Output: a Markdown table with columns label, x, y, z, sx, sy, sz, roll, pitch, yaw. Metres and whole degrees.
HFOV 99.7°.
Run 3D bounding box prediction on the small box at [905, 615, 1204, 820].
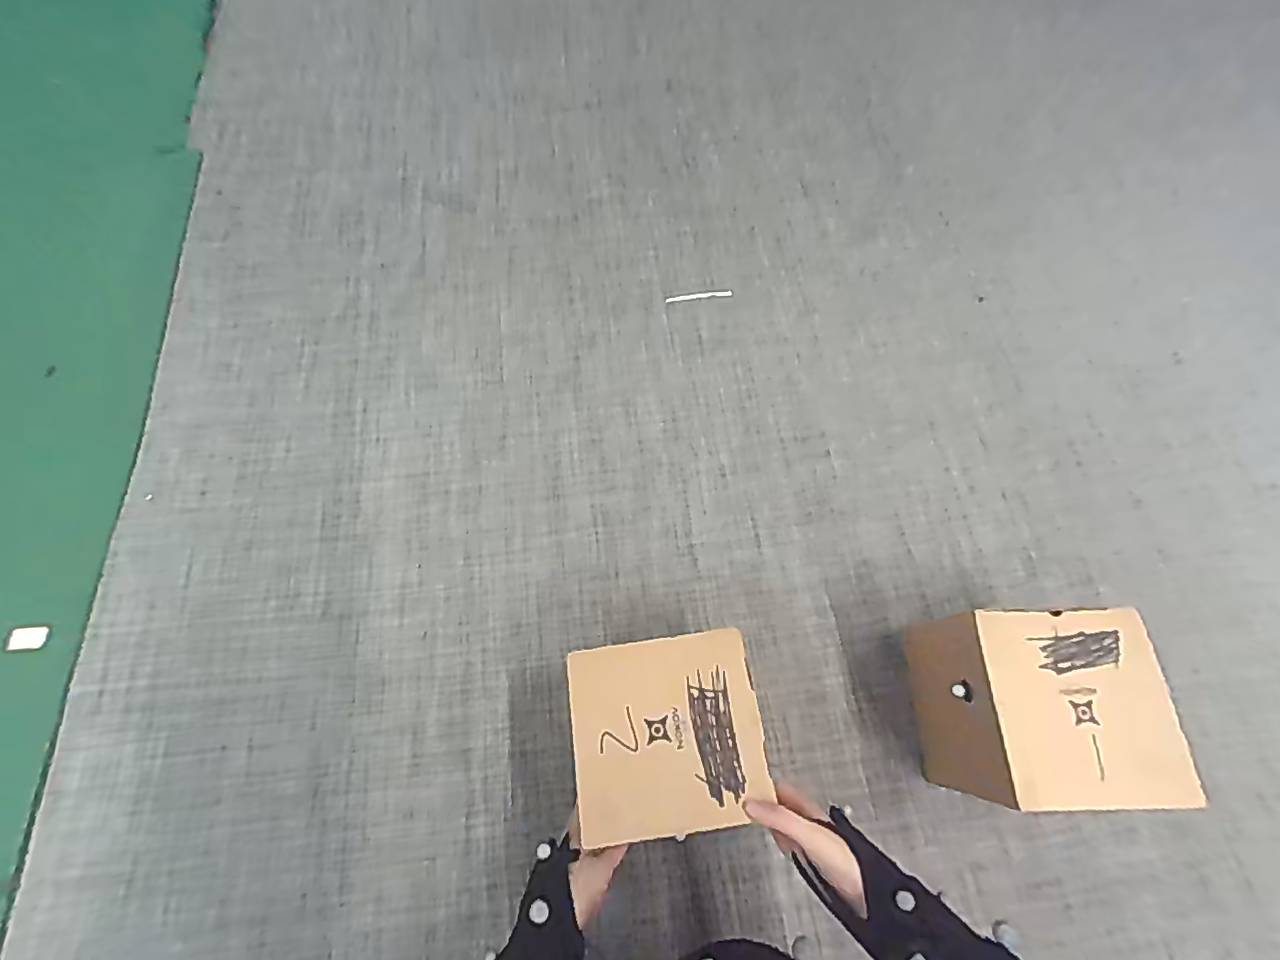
| label | x | y | z | sx | sy | sz | roll | pitch | yaw |
| --- | --- | --- | --- | --- | --- | --- | --- | --- | --- |
| small box | 0.410 | 0.246 | 0.577 | 0.168 | 0.176 | 0.179 | -1 | 68 | 0 |
